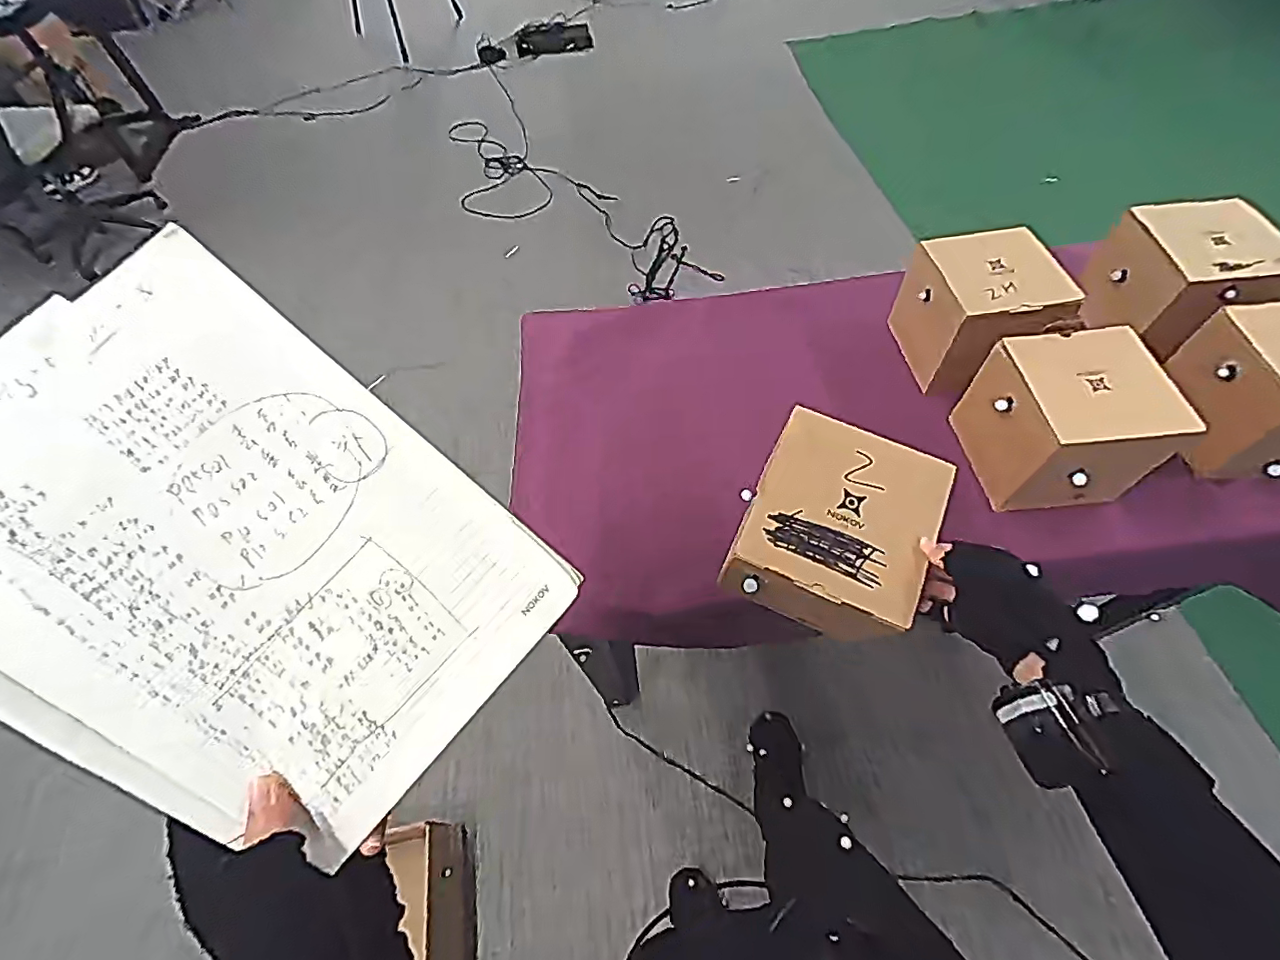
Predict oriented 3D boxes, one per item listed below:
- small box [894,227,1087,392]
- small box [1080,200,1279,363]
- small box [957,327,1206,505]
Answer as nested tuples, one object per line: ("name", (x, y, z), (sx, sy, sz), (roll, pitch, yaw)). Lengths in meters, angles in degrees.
("small box", (0.524, -0.262, 0.844), (0.168, 0.176, 0.179), (-7, 58, 1))
("small box", (0.835, -0.303, 0.841), (0.168, 0.176, 0.179), (-3, 58, 4))
("small box", (0.566, -0.076, 0.727), (0.168, 0.176, 0.179), (-5, 58, 3))
